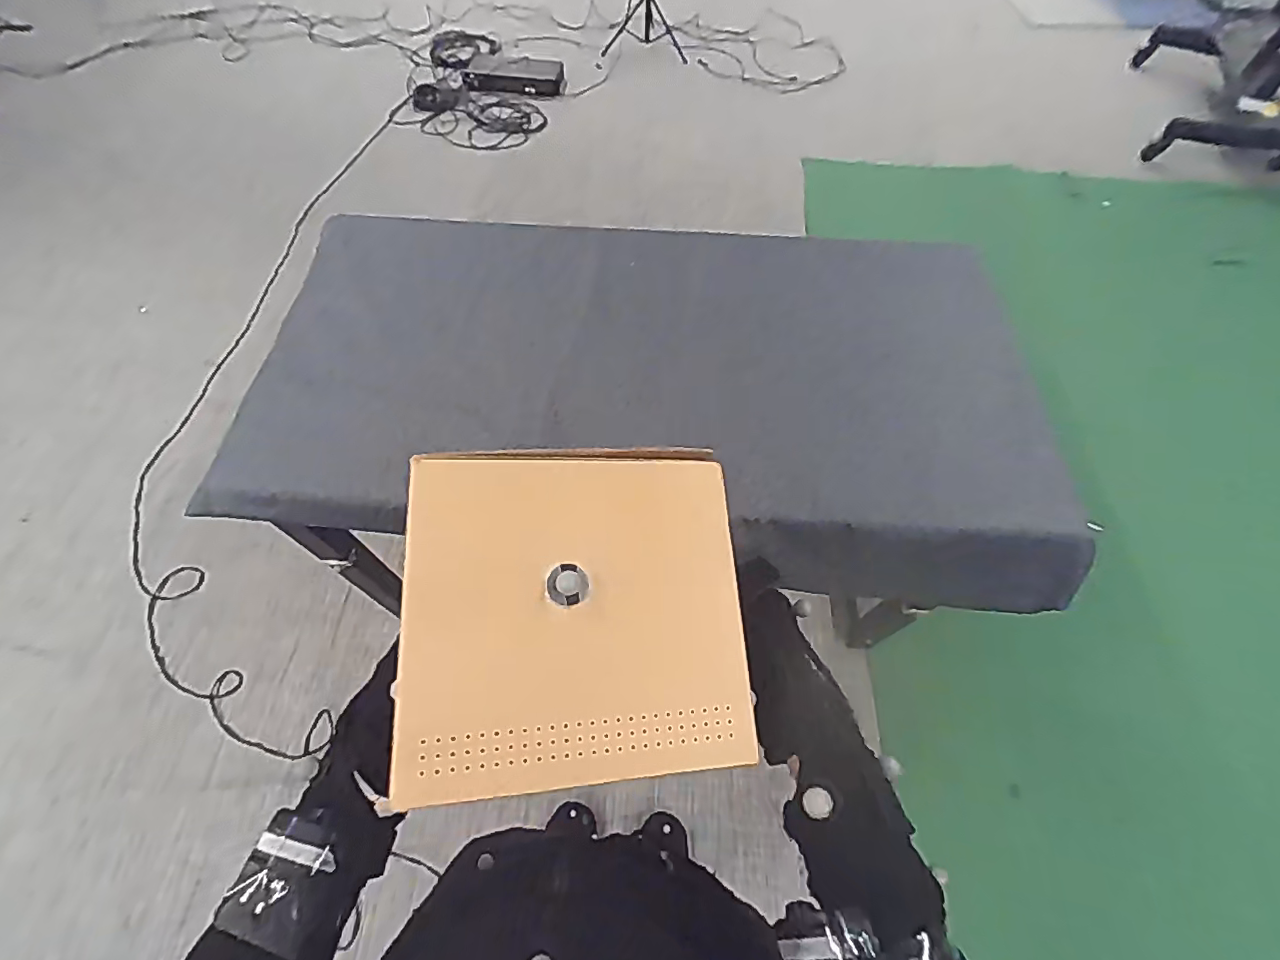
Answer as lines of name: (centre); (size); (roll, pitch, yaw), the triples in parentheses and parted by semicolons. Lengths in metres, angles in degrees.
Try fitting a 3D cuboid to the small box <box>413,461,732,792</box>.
small box: (-0.047, 0.095, 0.369); (0.179, 0.168, 0.176); (-1, 70, -14)
